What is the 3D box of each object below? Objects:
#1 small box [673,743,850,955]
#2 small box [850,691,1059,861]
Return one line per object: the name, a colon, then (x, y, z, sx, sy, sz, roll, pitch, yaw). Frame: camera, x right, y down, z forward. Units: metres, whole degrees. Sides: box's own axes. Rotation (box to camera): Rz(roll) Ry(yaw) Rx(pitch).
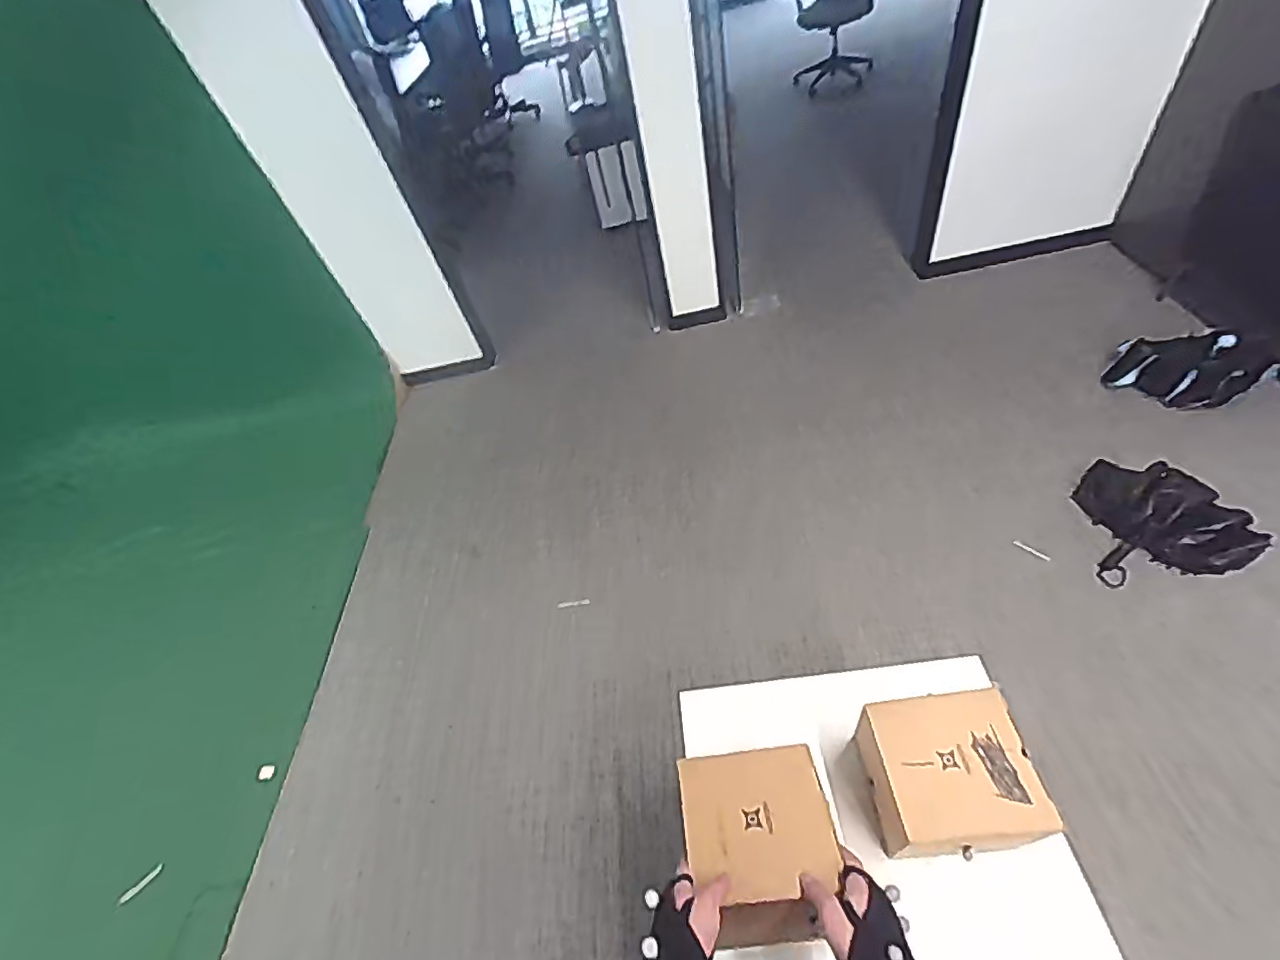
small box: (0.142, 0.460, 0.677, 0.179, 0.176, 0.168, -9, 35, 3)
small box: (0.402, 0.403, 0.731, 0.179, 0.176, 0.168, -9, 48, 6)
